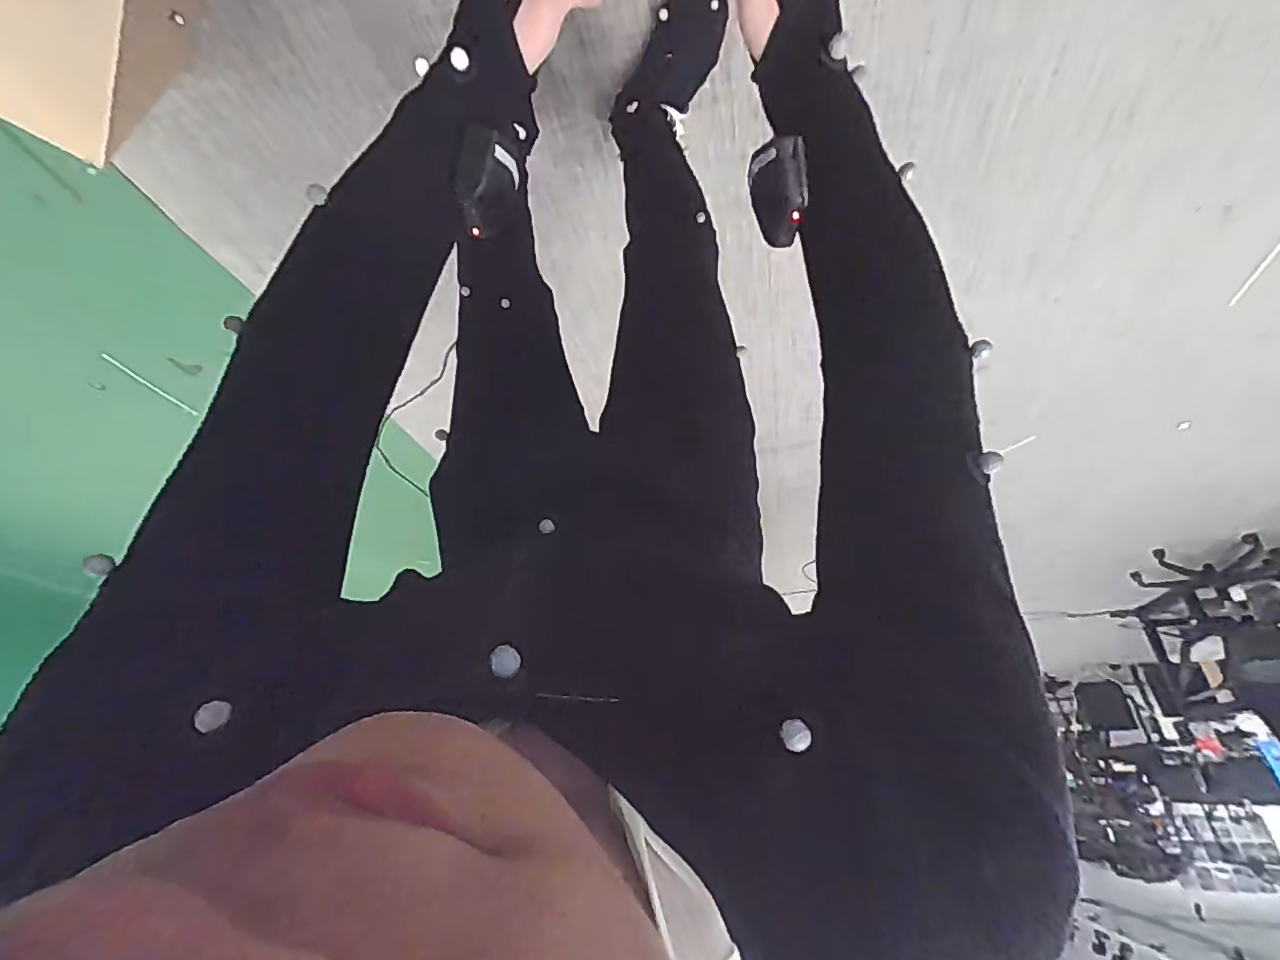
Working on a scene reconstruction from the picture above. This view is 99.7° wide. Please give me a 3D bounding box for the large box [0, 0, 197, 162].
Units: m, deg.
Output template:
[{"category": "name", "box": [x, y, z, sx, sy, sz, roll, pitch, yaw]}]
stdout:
[{"category": "large box", "box": [-0.803, -0.745, 0.700, 0.320, 0.320, 0.408, 27, 142, -37]}]
